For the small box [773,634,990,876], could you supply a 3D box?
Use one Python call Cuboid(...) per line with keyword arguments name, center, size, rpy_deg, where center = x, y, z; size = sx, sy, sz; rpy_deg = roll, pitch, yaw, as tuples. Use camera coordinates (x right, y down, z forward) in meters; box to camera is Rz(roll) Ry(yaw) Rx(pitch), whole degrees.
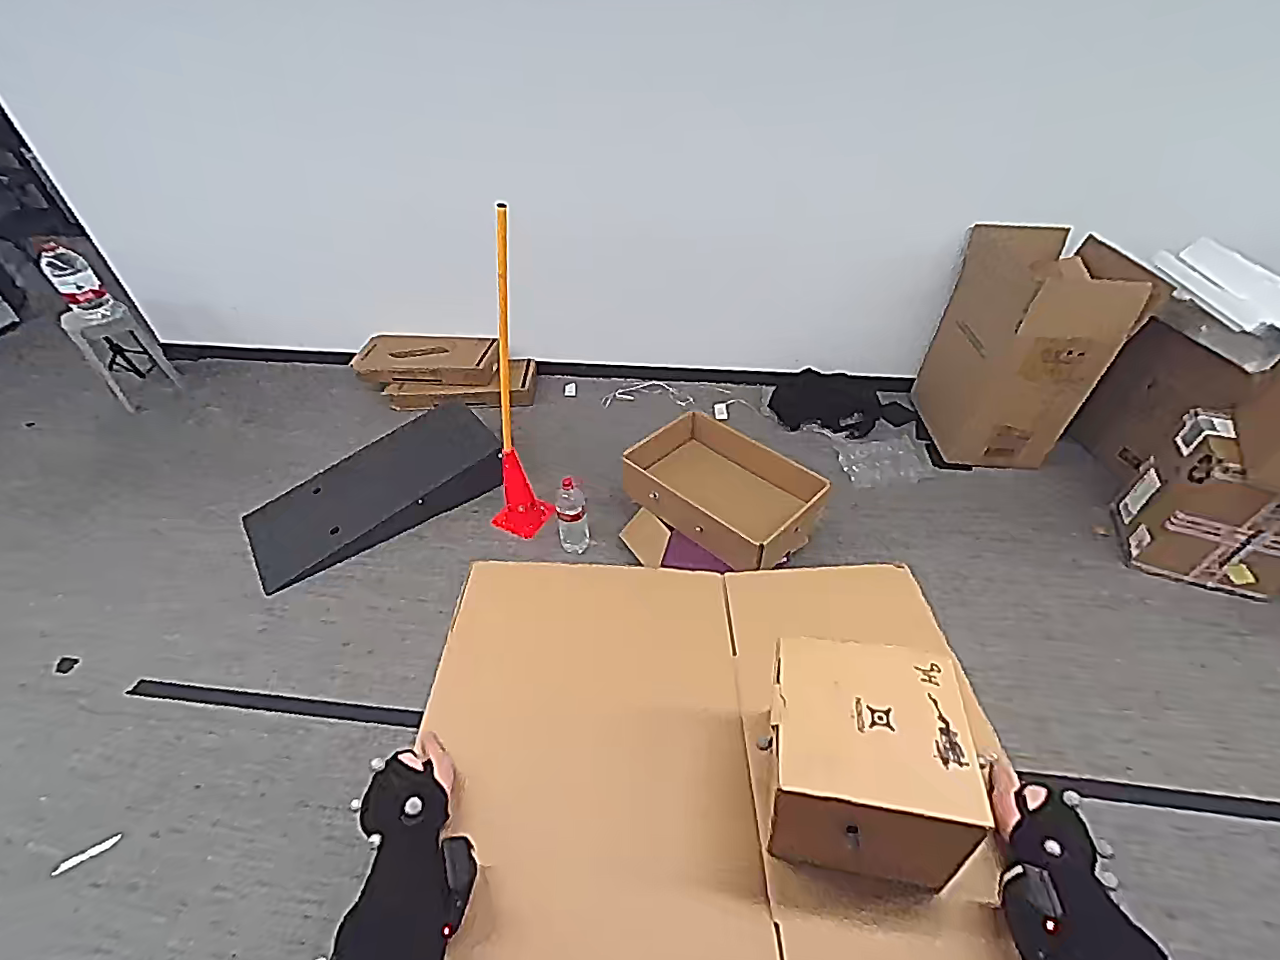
Cuboid(name="small box", center=(0.235, 0.289, 0.576), size=(0.179, 0.176, 0.168), rpy_deg=(3, 40, 14))
